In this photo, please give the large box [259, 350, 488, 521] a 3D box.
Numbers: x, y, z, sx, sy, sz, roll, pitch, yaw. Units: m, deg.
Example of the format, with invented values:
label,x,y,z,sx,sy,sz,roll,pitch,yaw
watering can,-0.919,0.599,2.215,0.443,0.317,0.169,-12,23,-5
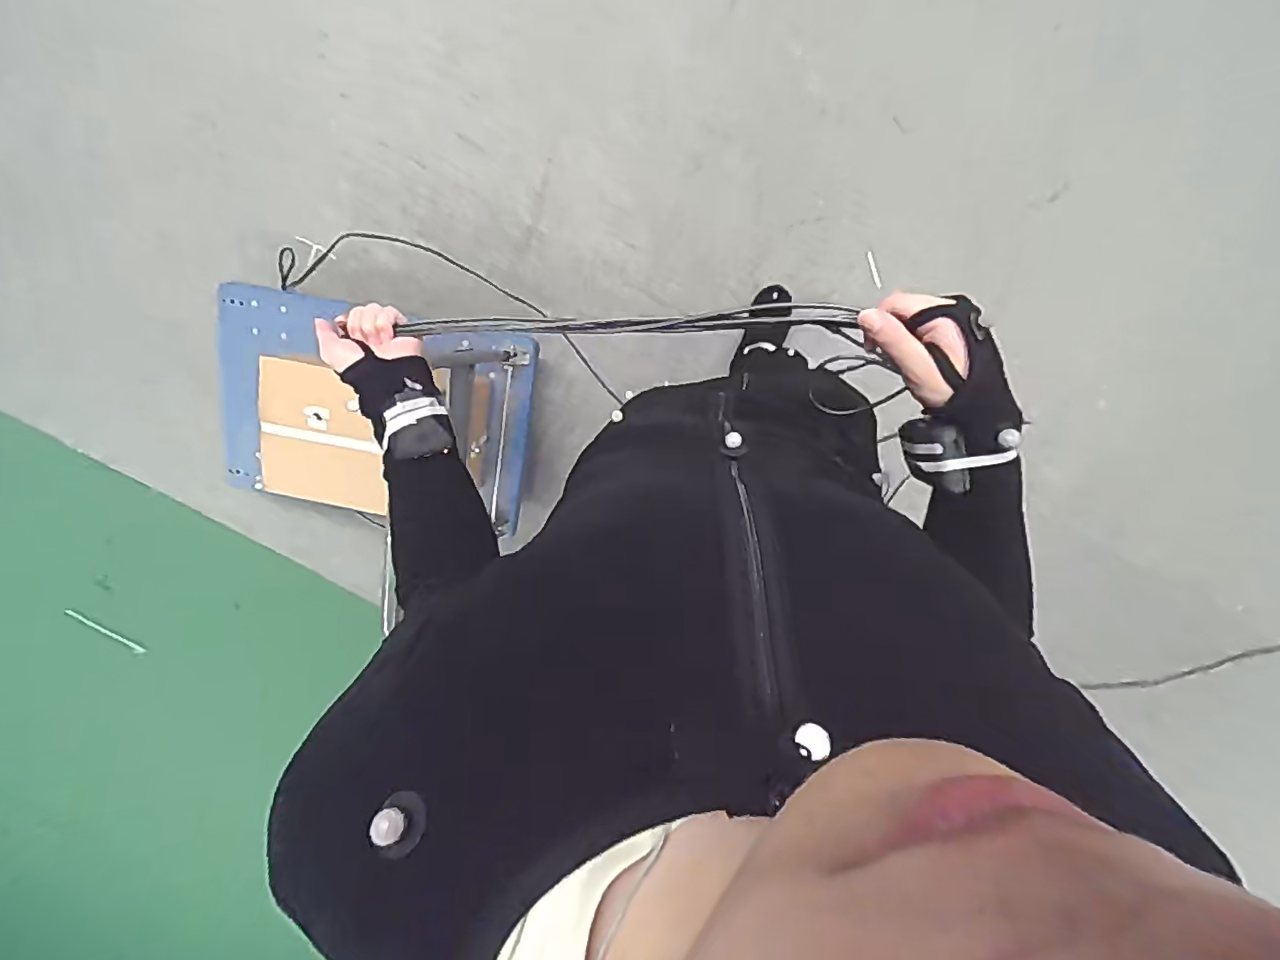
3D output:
label,x,y,z,sx,sy,sz,roll,pitch,yaw
large box,-0.624,-0.126,1.321,0.408,0.320,0.320,12,105,3
